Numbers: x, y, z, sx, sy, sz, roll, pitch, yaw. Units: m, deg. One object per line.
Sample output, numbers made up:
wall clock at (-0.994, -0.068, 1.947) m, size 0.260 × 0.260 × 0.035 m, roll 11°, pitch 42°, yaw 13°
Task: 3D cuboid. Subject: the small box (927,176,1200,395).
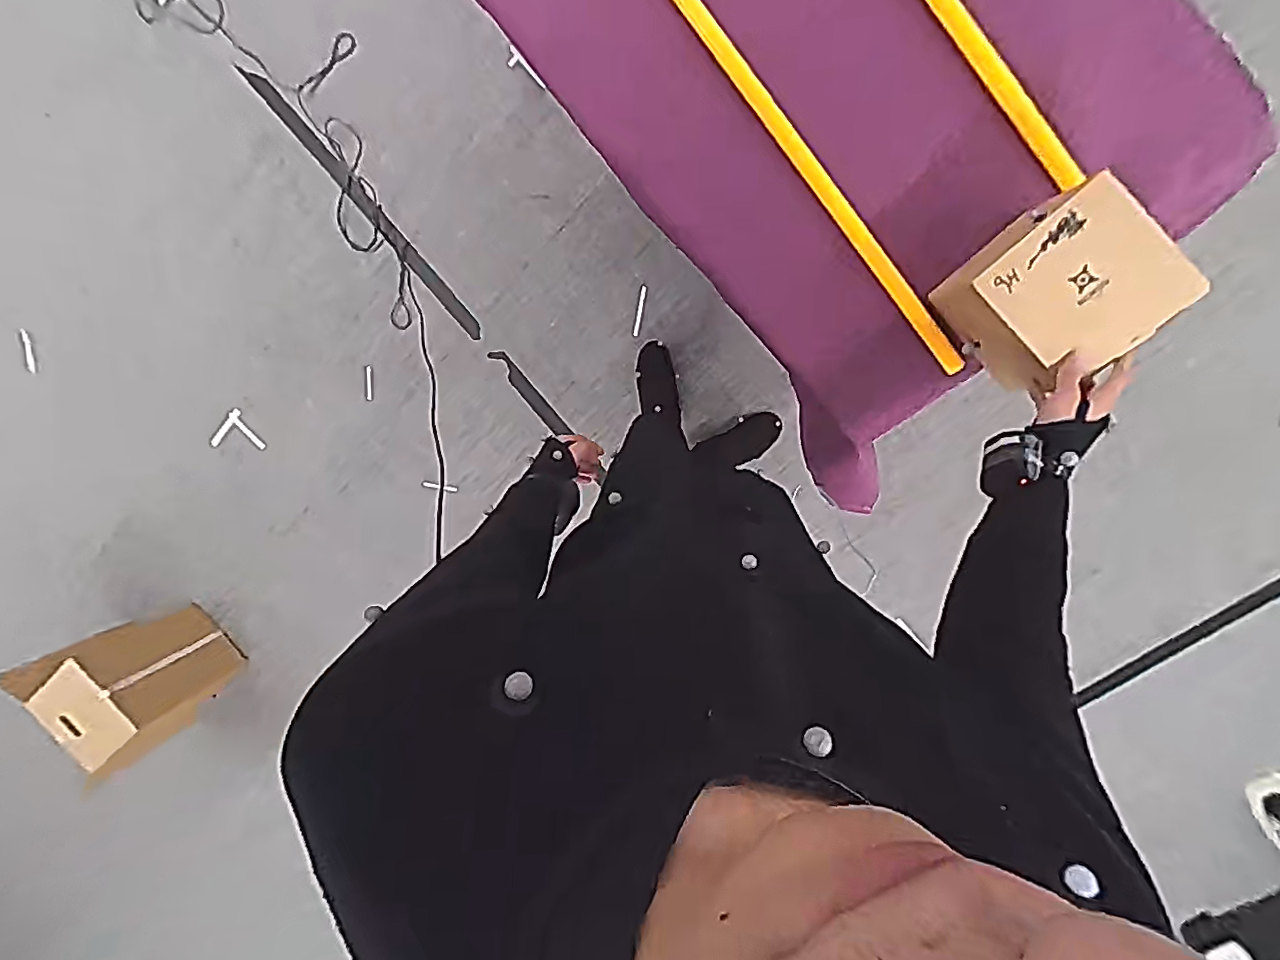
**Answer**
small box at (0.503, -0.230, 0.675) m, size 0.168 × 0.176 × 0.179 m, roll -41°, pitch 93°, yaw 16°
